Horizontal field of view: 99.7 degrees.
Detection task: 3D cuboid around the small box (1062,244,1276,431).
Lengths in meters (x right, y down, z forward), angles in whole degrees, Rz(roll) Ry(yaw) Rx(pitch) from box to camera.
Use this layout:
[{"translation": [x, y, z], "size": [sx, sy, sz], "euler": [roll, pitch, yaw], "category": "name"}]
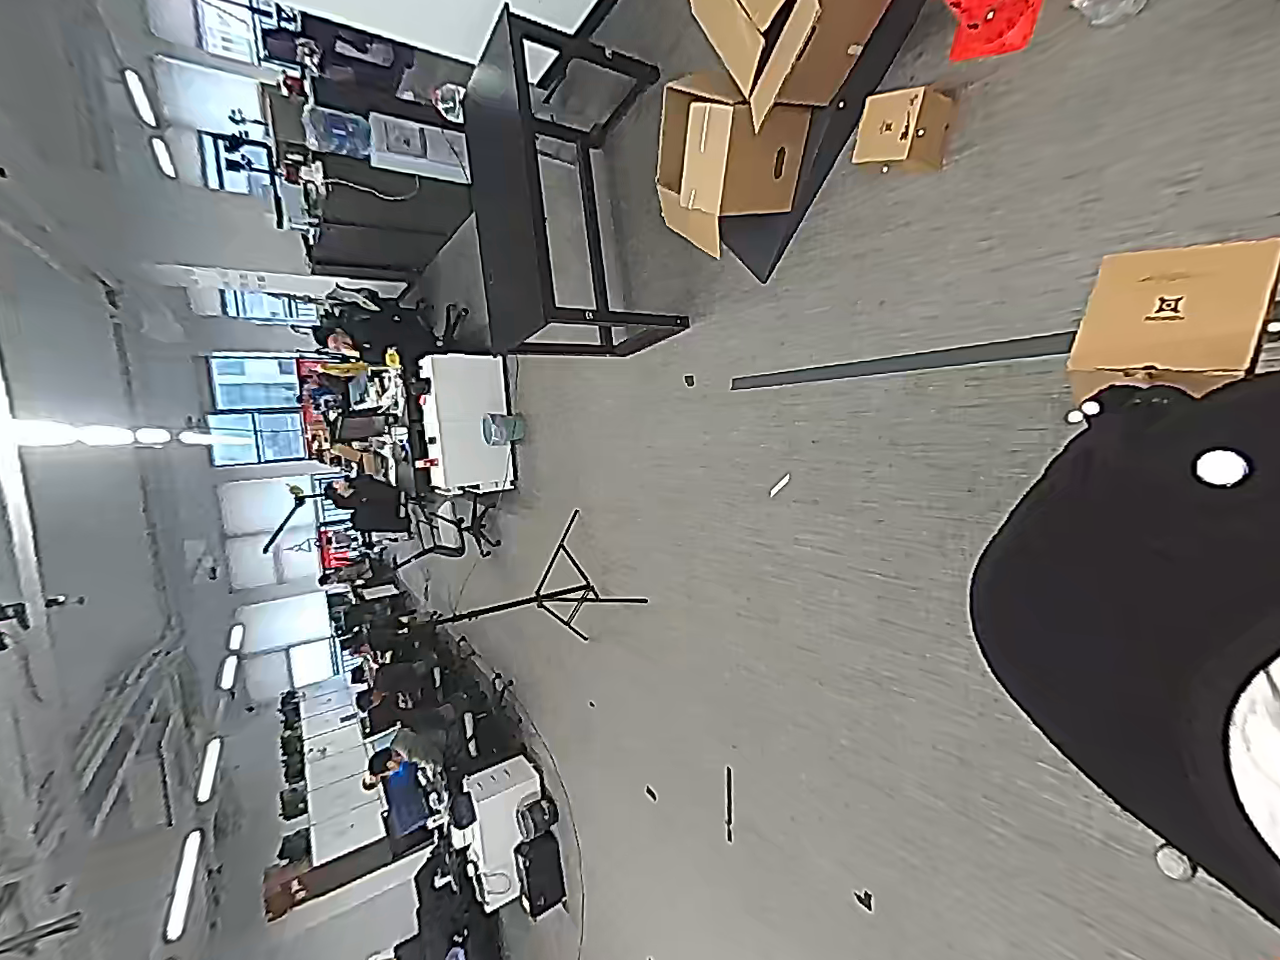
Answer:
[{"translation": [0.706, -0.182, 0.730], "size": [0.168, 0.176, 0.179], "euler": [16, 79, 47], "category": "small box"}]
